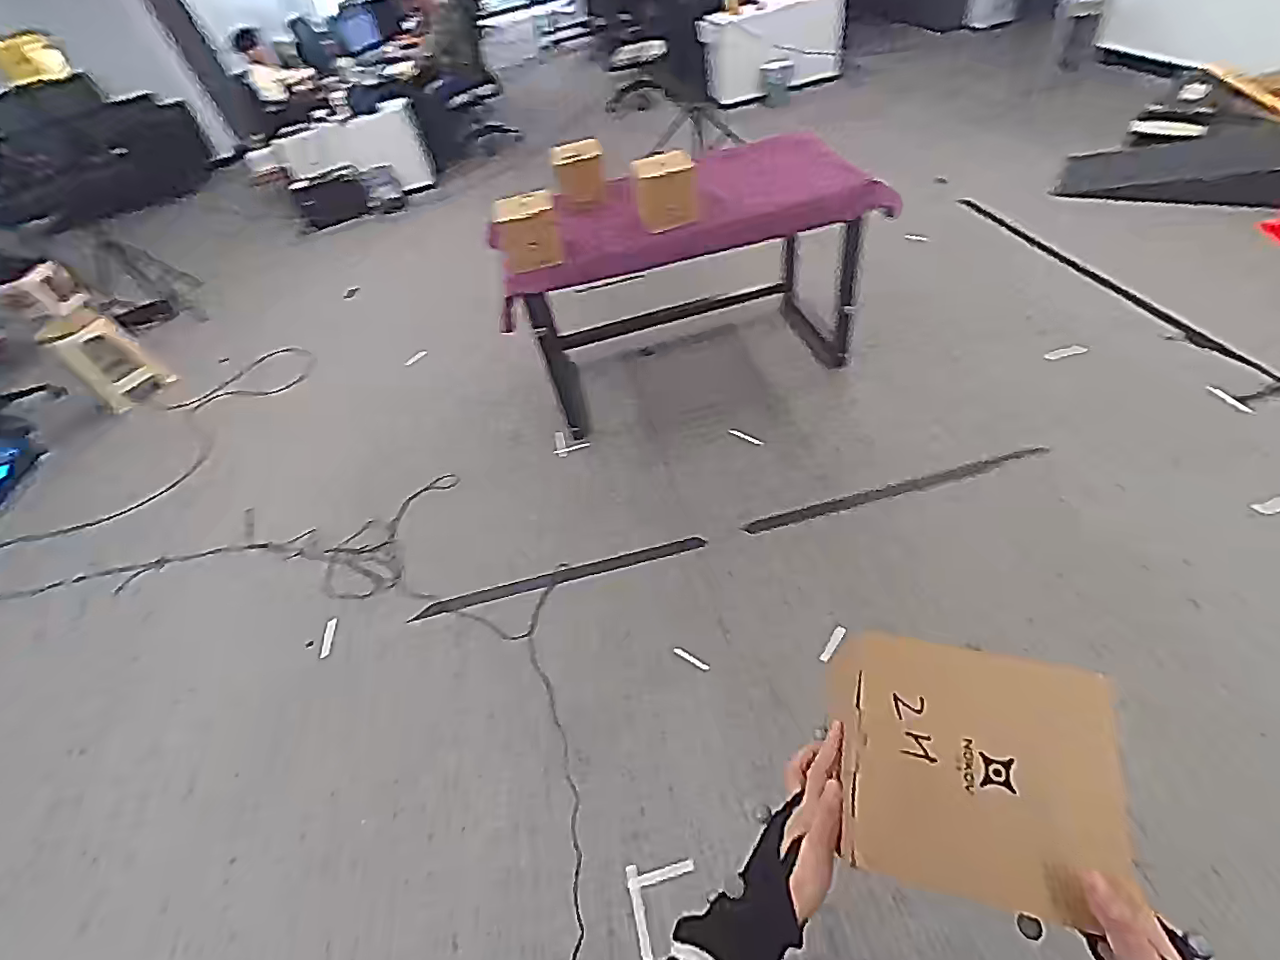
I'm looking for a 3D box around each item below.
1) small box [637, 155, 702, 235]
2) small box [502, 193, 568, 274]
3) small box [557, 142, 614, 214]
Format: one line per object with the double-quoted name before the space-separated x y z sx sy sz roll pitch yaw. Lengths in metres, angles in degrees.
"small box" 0.095 -0.915 1.738 0.168 0.176 0.179 -16 46 -1
"small box" -0.329 -0.772 1.707 0.168 0.176 0.179 -13 47 0
"small box" -0.195 -1.087 1.957 0.168 0.176 0.179 -13 48 1
